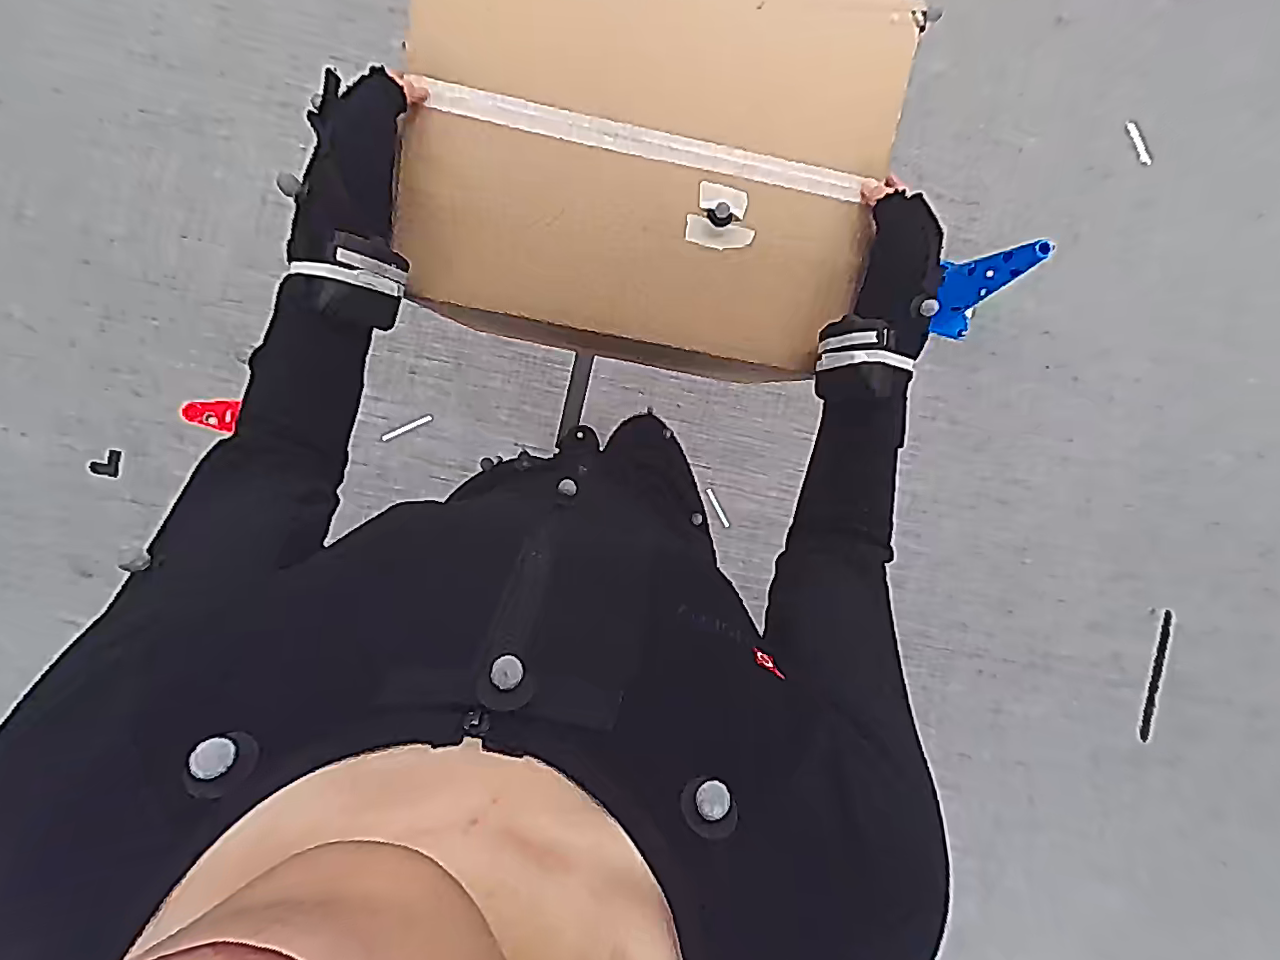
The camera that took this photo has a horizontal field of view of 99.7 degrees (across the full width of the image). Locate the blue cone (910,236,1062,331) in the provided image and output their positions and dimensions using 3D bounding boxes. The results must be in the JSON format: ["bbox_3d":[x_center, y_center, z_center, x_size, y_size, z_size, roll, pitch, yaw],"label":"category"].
[{"bbox_3d":[0.867,-0.517,1.345,0.192,0.380,0.193,15,91,-5],"label":"blue cone"}]

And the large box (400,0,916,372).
[{"bbox_3d":[0.001,-0.311,0.600,0.408,0.320,0.320,10,99,-6],"label":"large box"}]
